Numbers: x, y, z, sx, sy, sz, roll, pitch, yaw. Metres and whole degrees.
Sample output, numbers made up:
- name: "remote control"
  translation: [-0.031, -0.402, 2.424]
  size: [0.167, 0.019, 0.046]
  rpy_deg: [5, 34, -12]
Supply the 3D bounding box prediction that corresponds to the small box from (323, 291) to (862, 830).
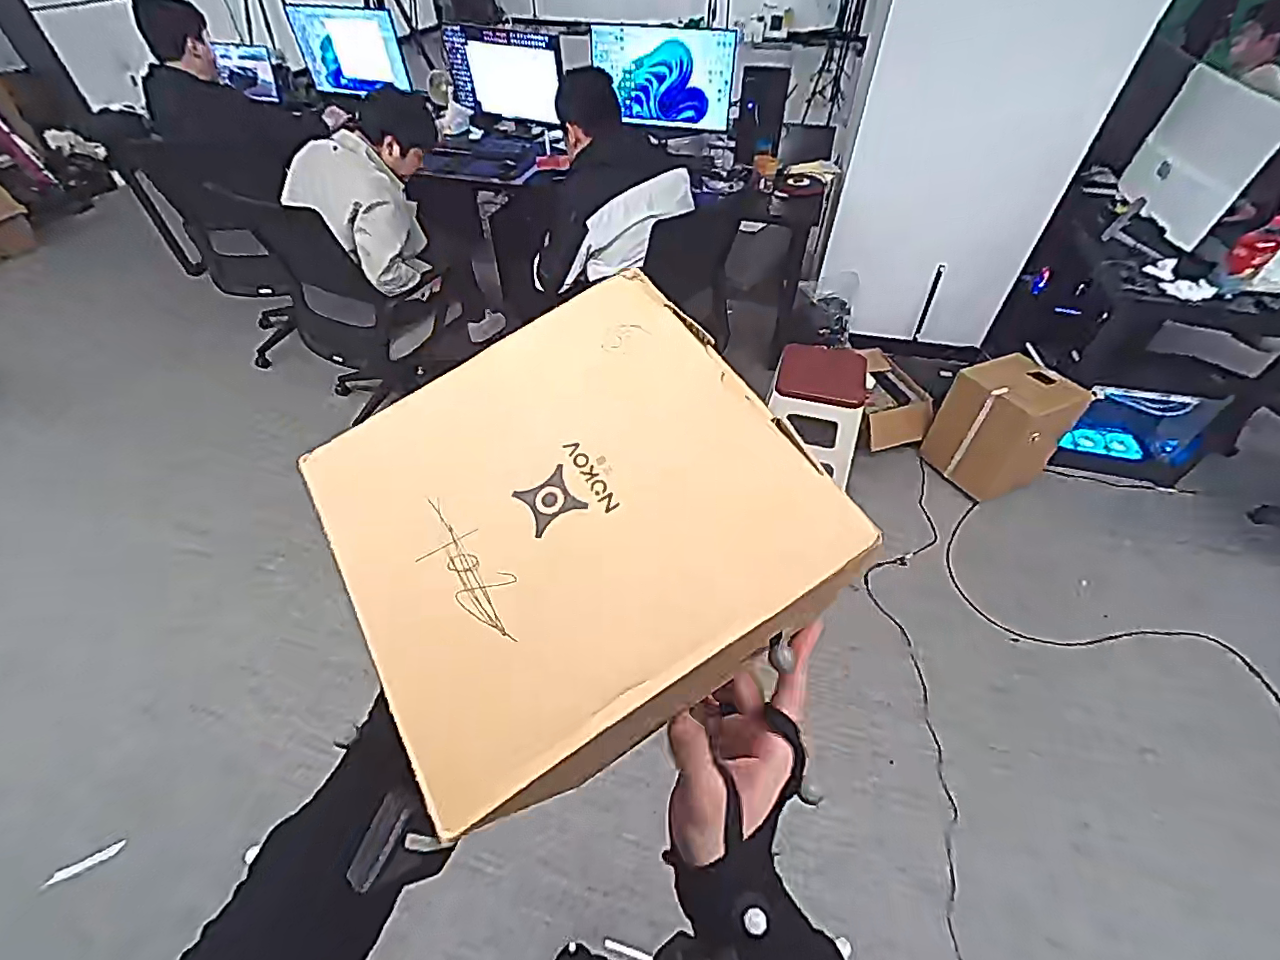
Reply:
- name: "small box"
  translation: [-0.019, 0.044, 0.294]
  size: [0.179, 0.176, 0.168]
  rpy_deg: [-34, 65, -6]
